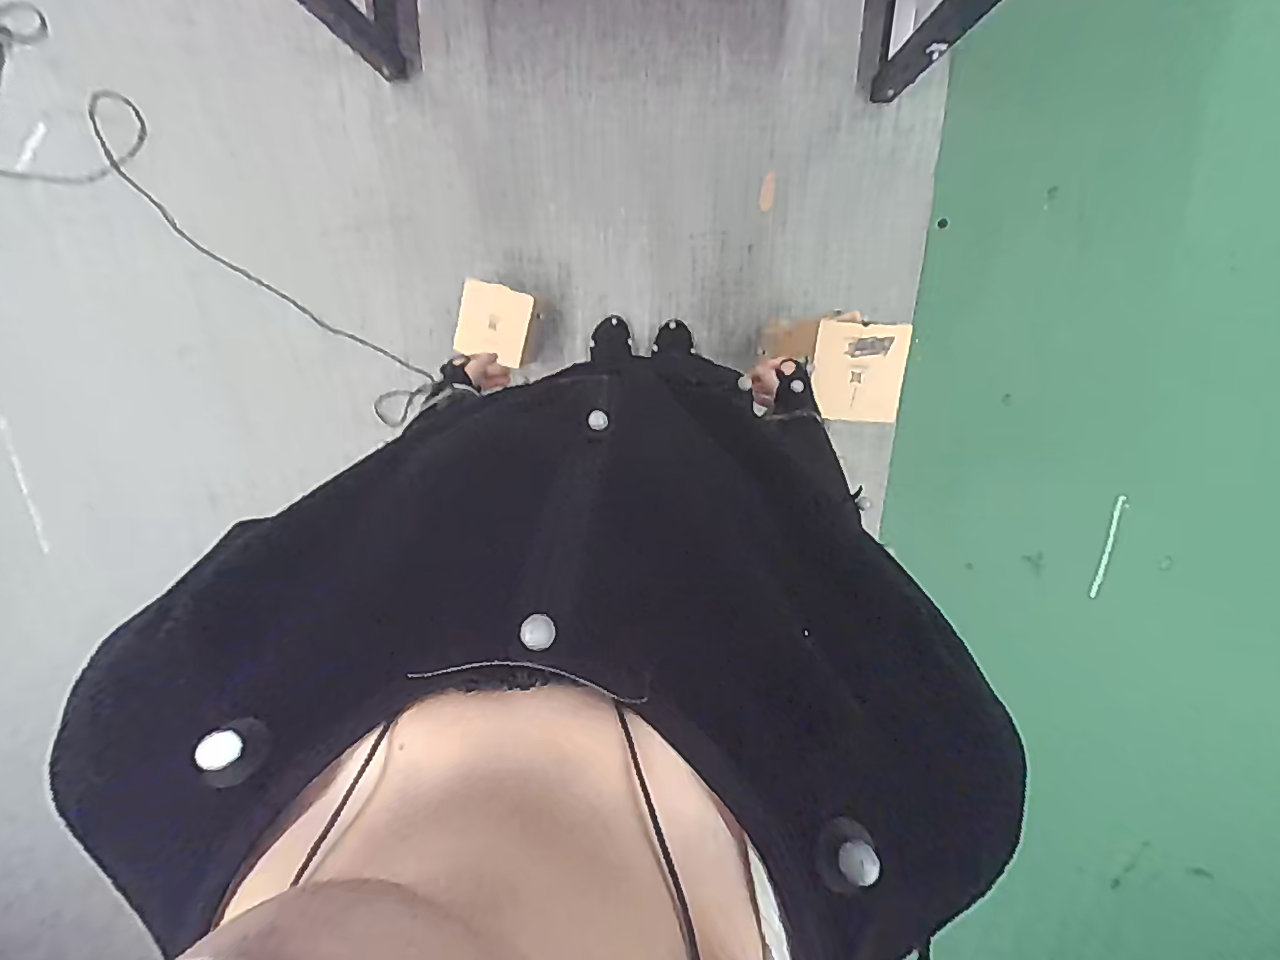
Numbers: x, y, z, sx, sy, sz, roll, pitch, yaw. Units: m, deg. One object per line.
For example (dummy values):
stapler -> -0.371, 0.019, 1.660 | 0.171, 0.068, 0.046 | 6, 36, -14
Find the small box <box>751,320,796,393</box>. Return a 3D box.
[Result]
small box -> 0.390, -0.300, 1.354 | 0.179, 0.176, 0.168 | 12, 107, -2

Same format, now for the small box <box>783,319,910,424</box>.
small box -> 0.383, -0.213, 1.037 | 0.168, 0.176, 0.179 | 4, 108, -1

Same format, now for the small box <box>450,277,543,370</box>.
small box -> -0.348, -0.388, 1.343 | 0.168, 0.176, 0.179 | 17, 107, -3
